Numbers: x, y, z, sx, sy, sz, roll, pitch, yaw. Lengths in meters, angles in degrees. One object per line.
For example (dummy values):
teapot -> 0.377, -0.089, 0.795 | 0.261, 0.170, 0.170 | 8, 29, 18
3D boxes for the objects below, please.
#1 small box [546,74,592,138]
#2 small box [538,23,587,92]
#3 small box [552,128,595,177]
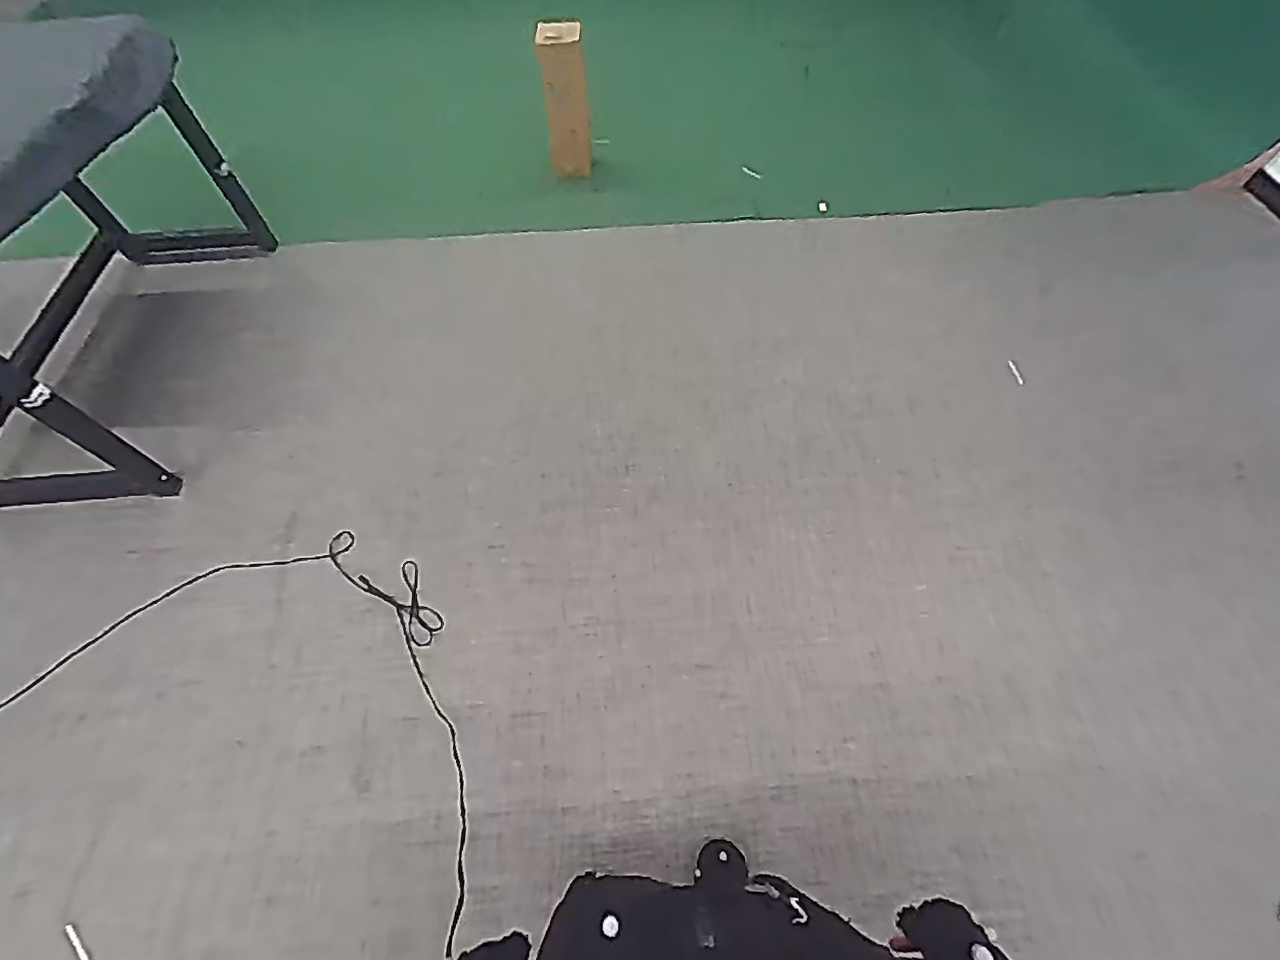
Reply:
small box -> -0.290, -1.555, 2.247 | 0.168, 0.176, 0.179 | -1, 59, 1
small box -> -0.296, -1.644, 2.108 | 0.168, 0.176, 0.179 | -1, 58, 0
small box -> -0.291, -1.468, 2.385 | 0.168, 0.176, 0.179 | -2, 61, 0
